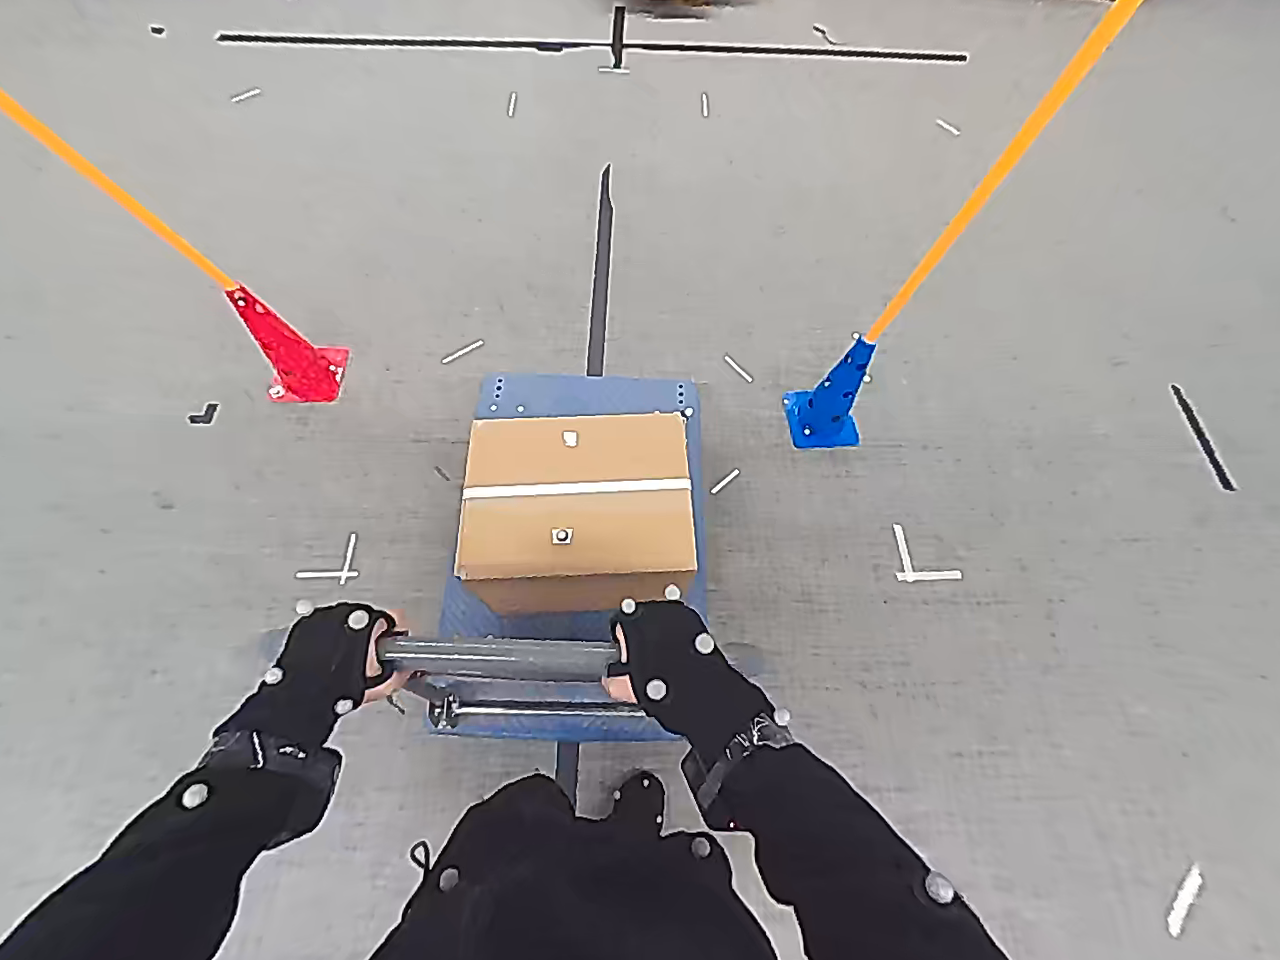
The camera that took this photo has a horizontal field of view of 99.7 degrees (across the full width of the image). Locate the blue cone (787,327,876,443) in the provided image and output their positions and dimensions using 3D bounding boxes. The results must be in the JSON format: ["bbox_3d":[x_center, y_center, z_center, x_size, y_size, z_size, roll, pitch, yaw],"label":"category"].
[{"bbox_3d":[0.549,-0.265,1.465,0.193,0.380,0.192,-2,64,-3],"label":"blue cone"}]
